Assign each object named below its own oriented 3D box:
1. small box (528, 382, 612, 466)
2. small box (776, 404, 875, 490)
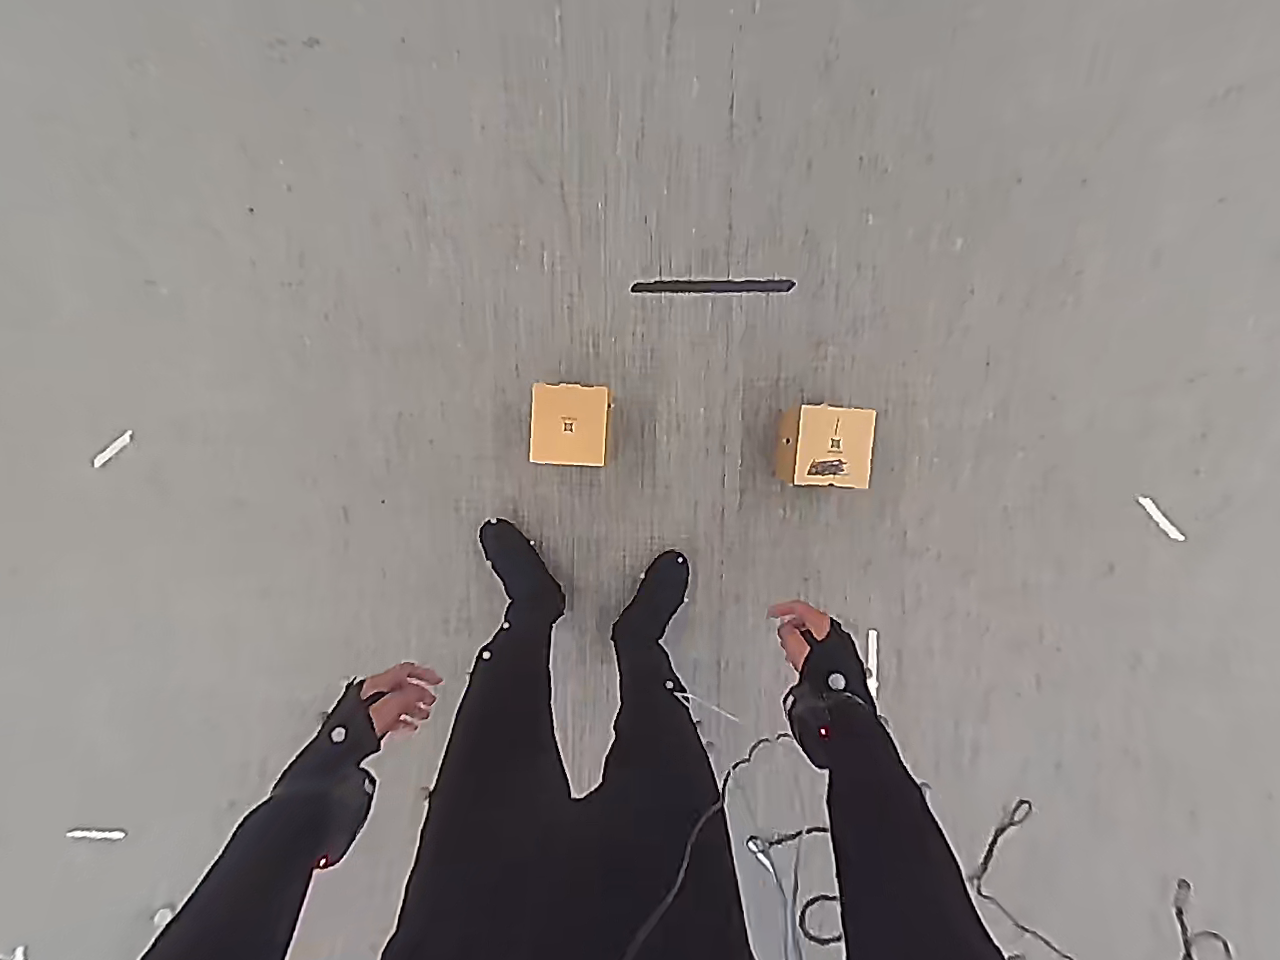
[{"bbox_3d":[-0.155,-0.126,1.248,0.168,0.176,0.179,3,94,1],"label":"small box"},{"bbox_3d":[0.417,-0.076,1.243,0.168,0.176,0.179,5,94,0],"label":"small box"}]
